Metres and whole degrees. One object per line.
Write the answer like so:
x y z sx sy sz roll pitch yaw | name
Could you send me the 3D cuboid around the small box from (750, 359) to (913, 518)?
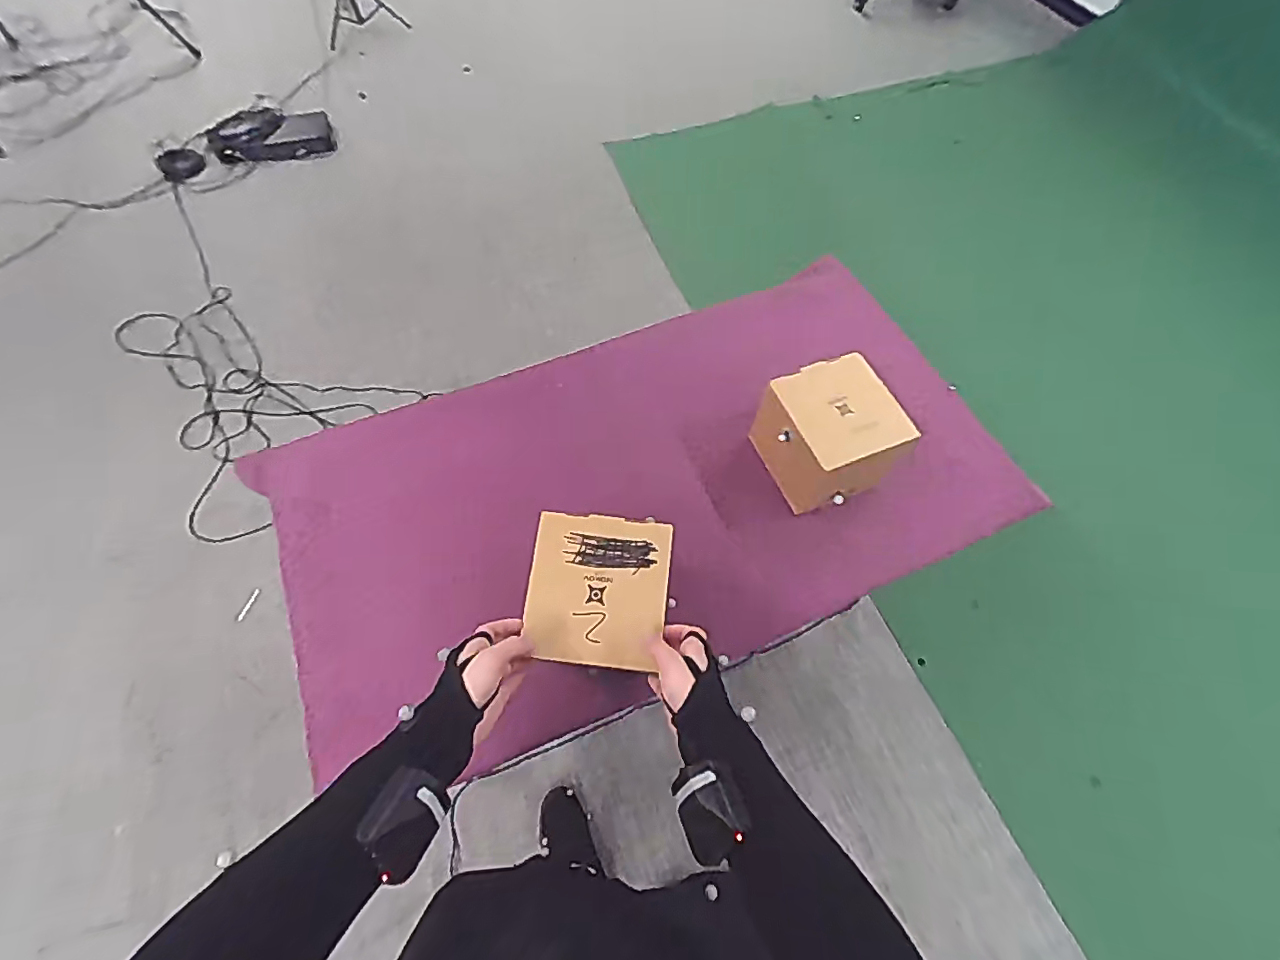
0.299 -0.064 0.893 0.168 0.176 0.179 -19 64 -10 | small box
